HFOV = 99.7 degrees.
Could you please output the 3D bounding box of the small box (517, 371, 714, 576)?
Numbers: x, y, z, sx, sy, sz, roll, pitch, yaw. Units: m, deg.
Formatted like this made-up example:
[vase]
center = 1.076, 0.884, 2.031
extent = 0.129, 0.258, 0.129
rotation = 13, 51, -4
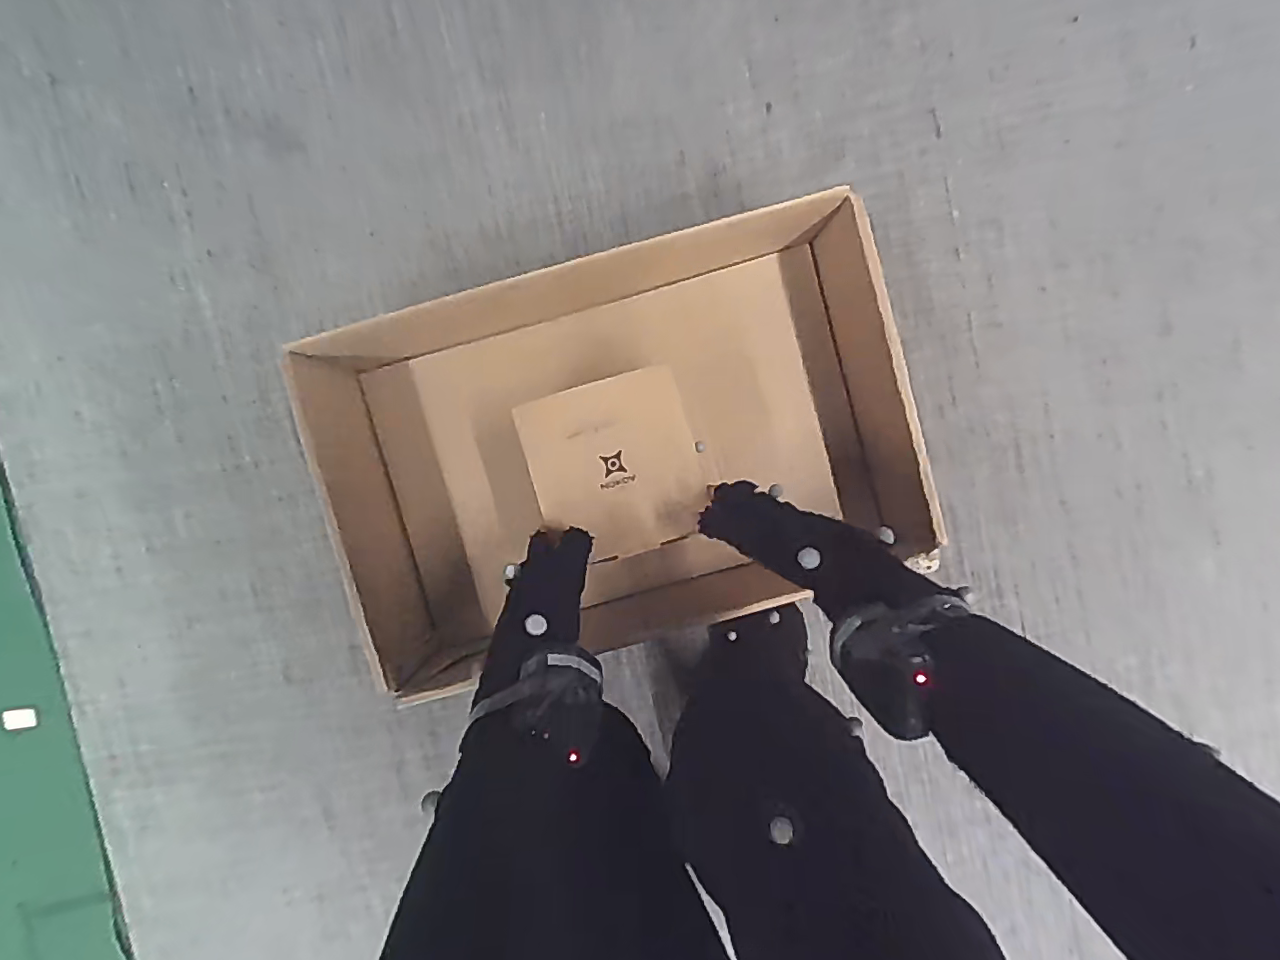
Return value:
[small box]
center = -0.022, -0.009, 0.622
extent = 0.168, 0.176, 0.179
rotation = -16, 91, 1
